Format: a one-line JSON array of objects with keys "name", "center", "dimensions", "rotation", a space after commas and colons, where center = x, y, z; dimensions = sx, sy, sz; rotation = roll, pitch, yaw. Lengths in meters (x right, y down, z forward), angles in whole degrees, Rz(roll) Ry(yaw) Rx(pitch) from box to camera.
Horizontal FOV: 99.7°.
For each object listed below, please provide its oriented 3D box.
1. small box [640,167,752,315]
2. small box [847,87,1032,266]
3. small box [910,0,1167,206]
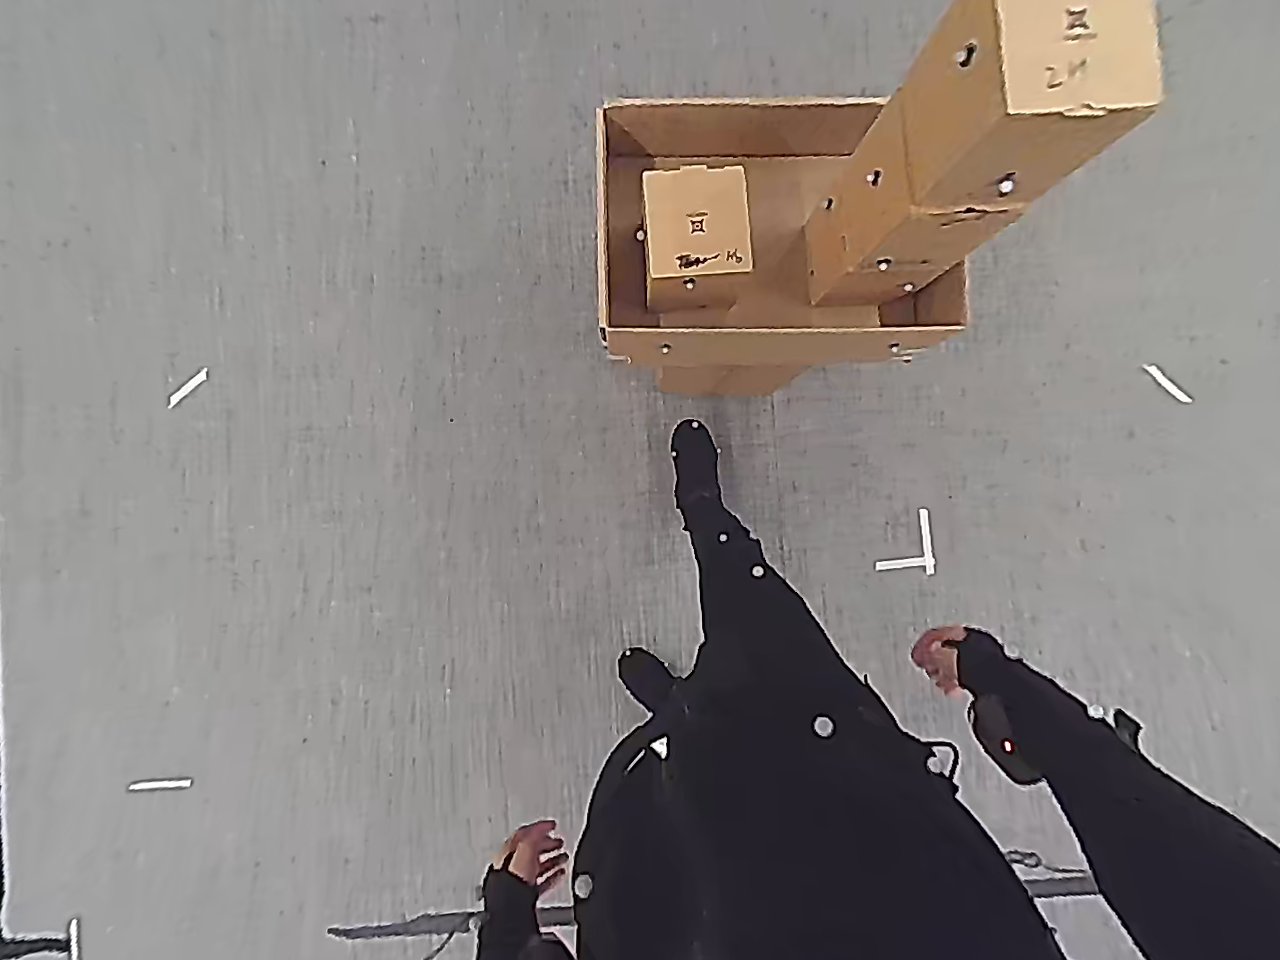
[{"name": "small box", "center": [0.088, -0.402, 0.931], "dimensions": [0.168, 0.176, 0.179], "rotation": [-4, 88, -1]}, {"name": "small box", "center": [0.416, -0.423, 0.777], "dimensions": [0.168, 0.176, 0.179], "rotation": [-4, 88, -3]}, {"name": "small box", "center": [0.430, -0.442, 0.613], "dimensions": [0.168, 0.176, 0.179], "rotation": [-5, 89, -2]}]
